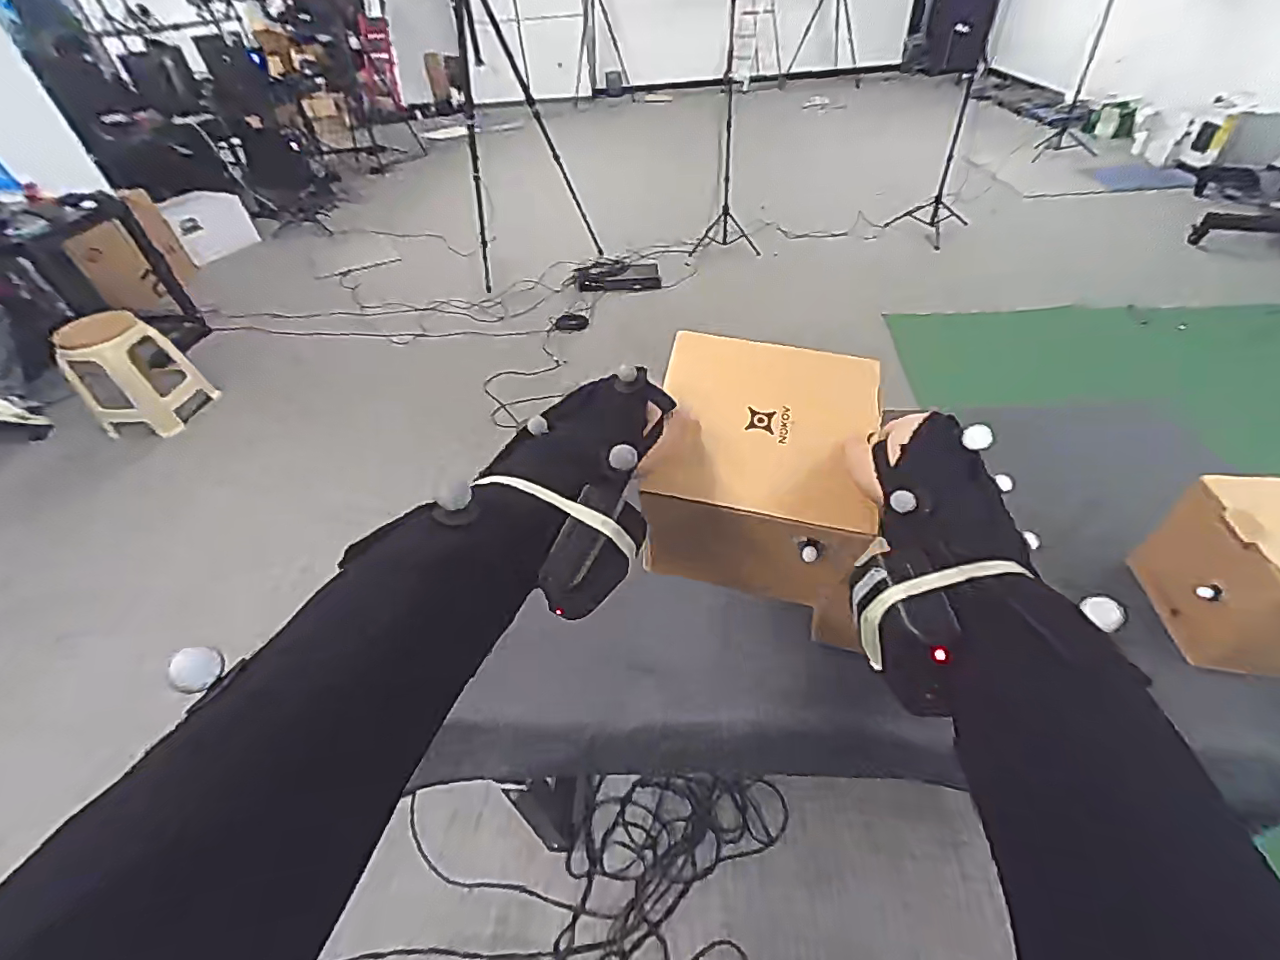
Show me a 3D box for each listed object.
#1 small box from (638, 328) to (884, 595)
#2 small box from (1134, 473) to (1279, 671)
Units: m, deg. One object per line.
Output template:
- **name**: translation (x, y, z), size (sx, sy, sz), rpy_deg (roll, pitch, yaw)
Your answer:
- **small box**: translation (0.102, -0.009, 0.493), size (0.179, 0.176, 0.168), rpy_deg (11, 62, 7)
- **small box**: translation (0.741, 0.111, 0.635), size (0.179, 0.176, 0.168), rpy_deg (4, 45, 9)
